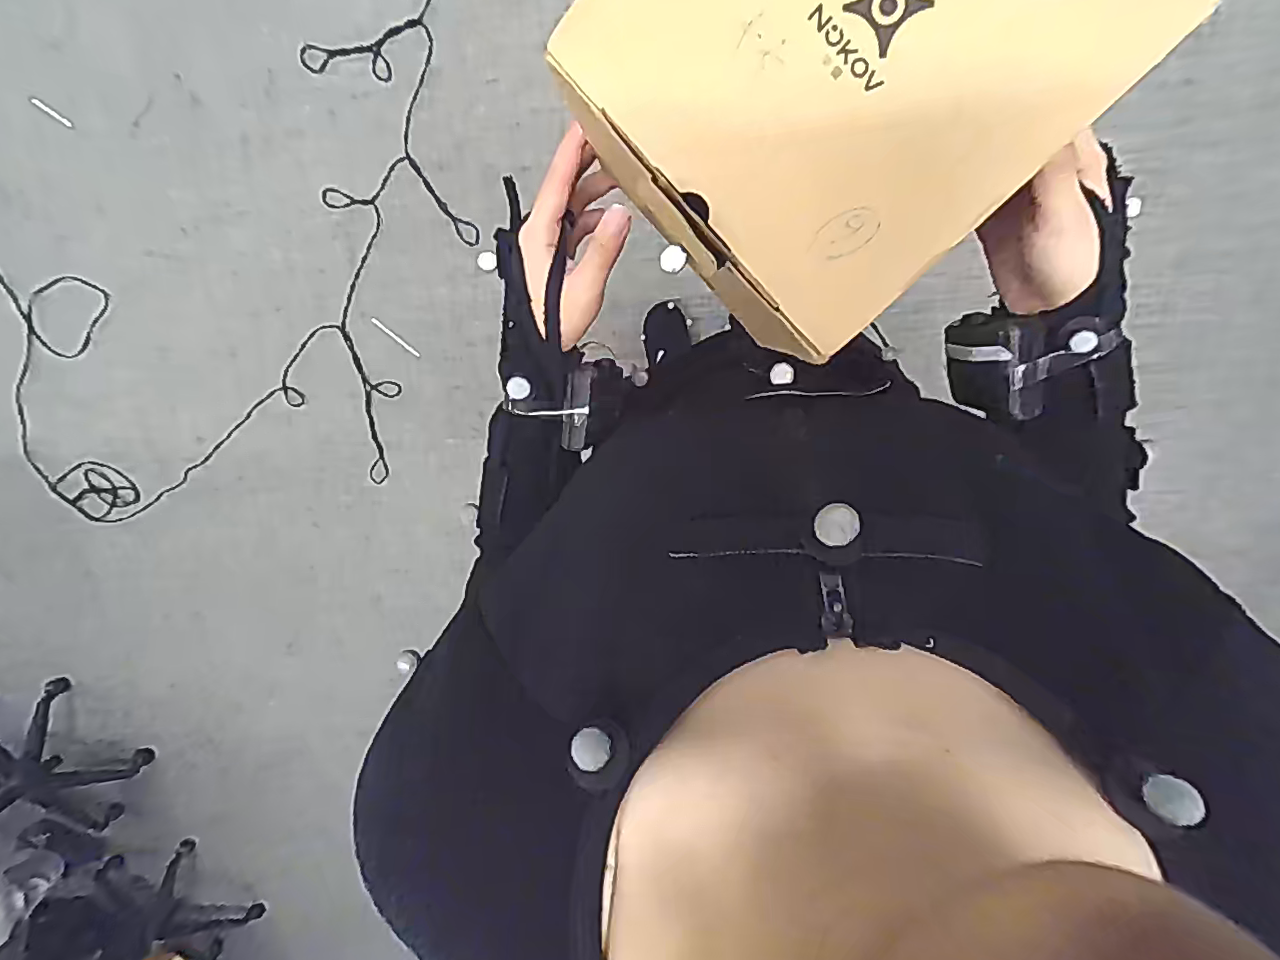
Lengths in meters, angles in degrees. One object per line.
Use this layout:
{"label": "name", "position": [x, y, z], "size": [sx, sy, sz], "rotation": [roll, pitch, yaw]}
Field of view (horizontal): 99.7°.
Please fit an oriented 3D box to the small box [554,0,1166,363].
{"label": "small box", "position": [0.087, -0.185, 0.287], "size": [0.168, 0.176, 0.179], "rotation": [44, 105, -9]}
